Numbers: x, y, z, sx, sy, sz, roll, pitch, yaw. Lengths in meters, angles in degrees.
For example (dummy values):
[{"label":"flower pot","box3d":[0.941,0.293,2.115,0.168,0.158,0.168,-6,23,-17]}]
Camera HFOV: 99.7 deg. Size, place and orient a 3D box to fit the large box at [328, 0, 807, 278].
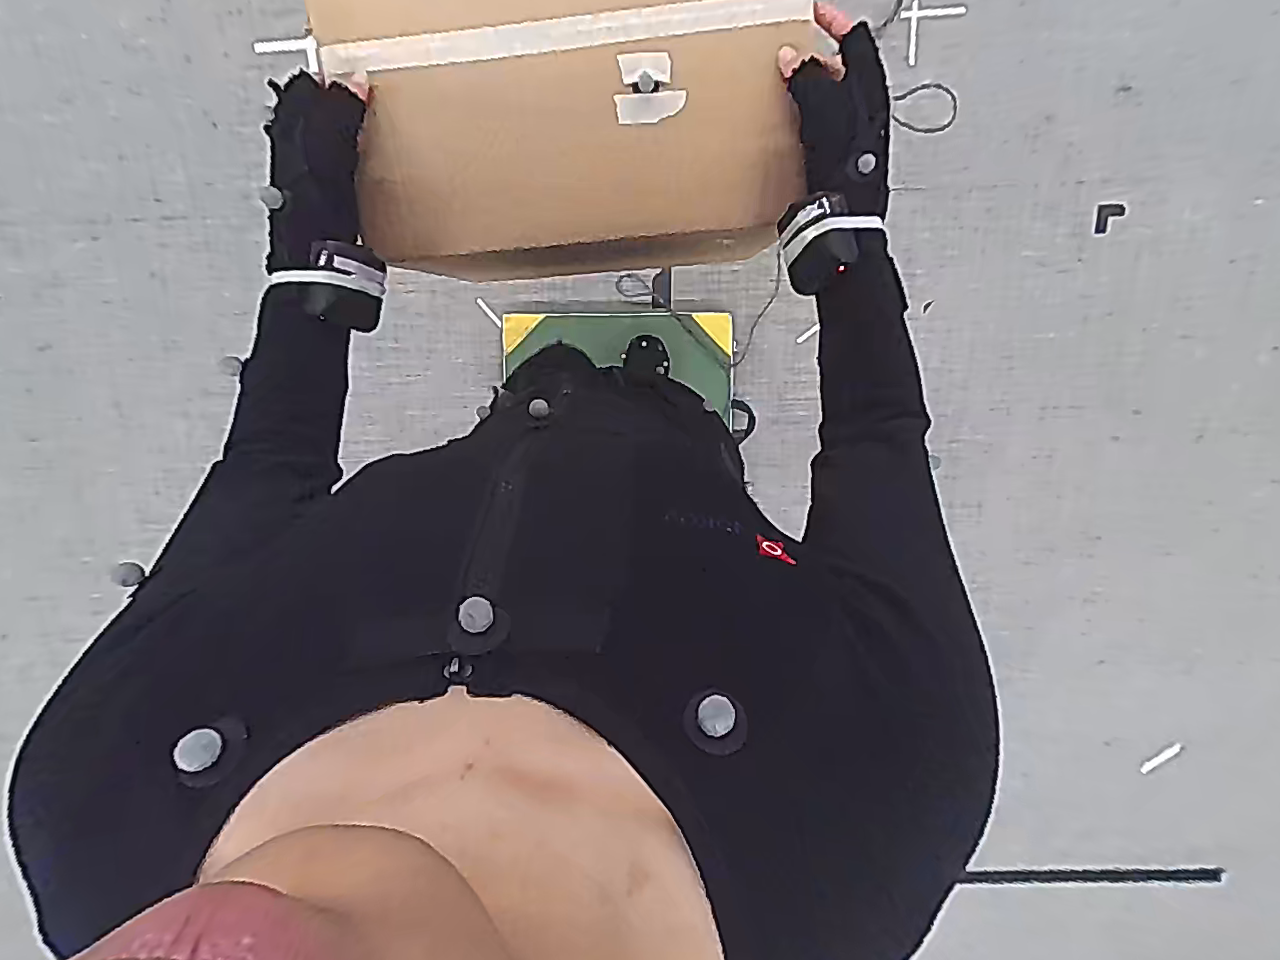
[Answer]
[{"label":"large box","box3d":[-0.061,-0.420,0.600,0.408,0.320,0.320,-5,107,2]}]
